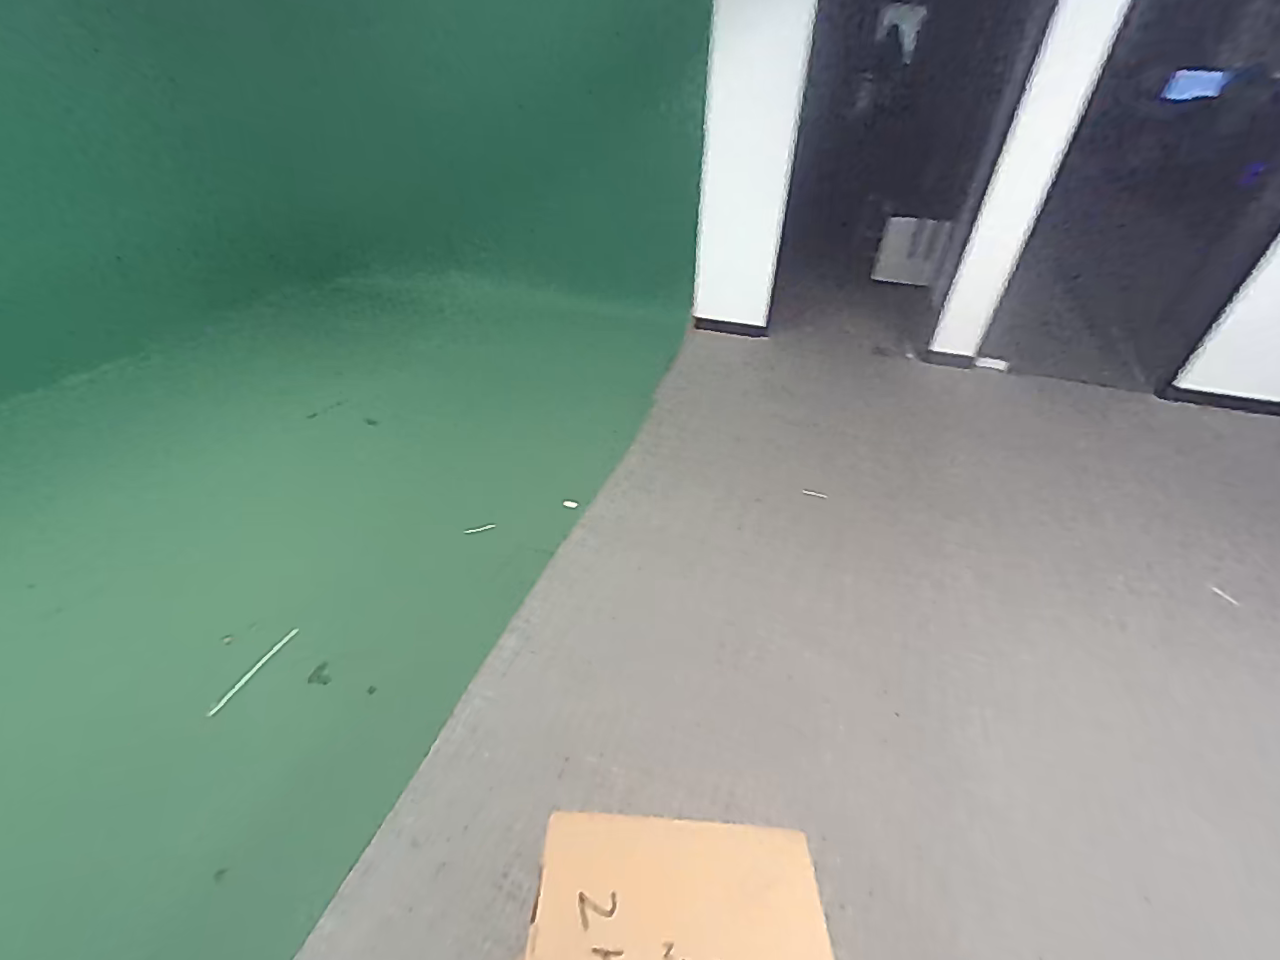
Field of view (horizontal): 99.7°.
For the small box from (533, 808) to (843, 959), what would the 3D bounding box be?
[{"bbox_3d":[0.019,0.342,0.337,0.179,0.176,0.168,10,31,-4],"label":"small box"}]
